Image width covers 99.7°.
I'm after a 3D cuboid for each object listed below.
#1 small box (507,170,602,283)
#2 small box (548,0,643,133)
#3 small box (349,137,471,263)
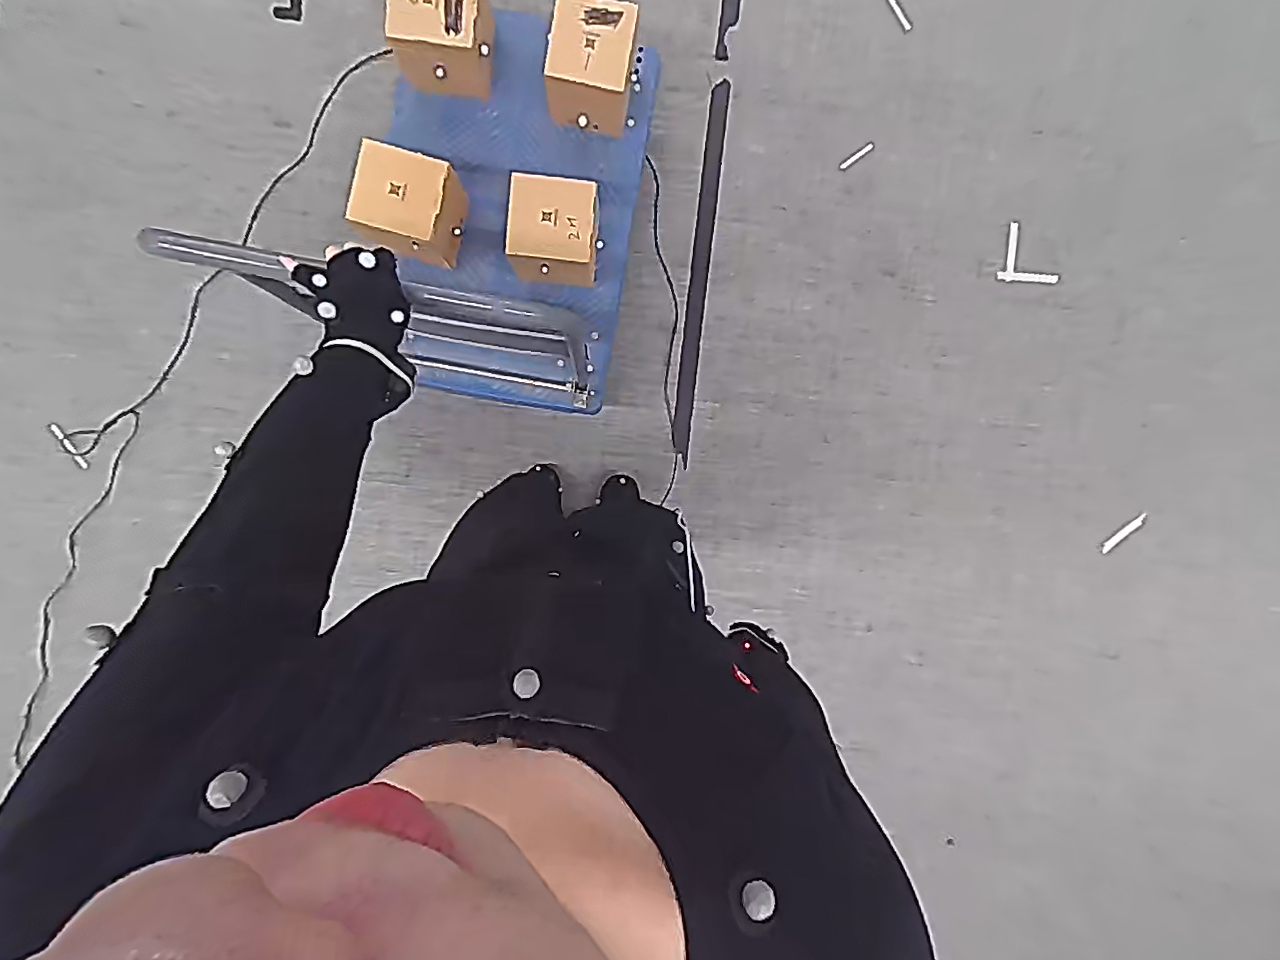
[{"bbox_3d":[-0.179,-0.542,1.178,0.179,0.176,0.168,6,94,-3],"label":"small box"},{"bbox_3d":[-0.095,-0.893,1.159,0.168,0.176,0.179,11,94,-3],"label":"small box"},{"bbox_3d":[-0.484,-0.589,1.162,0.179,0.176,0.168,14,93,-5],"label":"small box"}]
